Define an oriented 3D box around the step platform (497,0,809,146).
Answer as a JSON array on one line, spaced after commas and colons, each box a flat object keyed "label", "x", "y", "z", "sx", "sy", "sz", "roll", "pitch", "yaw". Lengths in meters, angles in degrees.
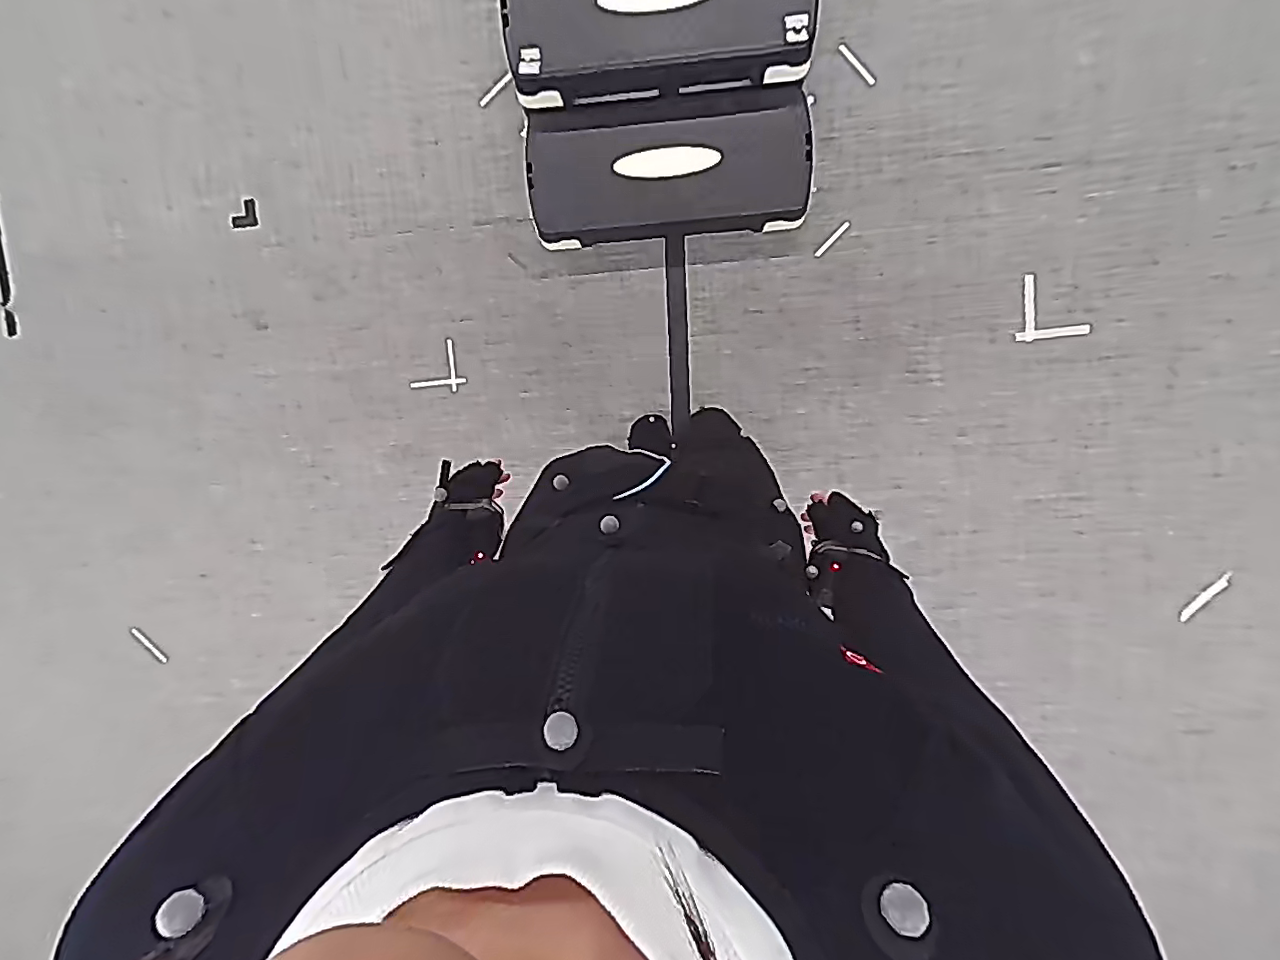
[{"label": "step platform", "x": 0.027, "y": -0.987, "z": 1.225, "sx": 0.684, "sy": 0.204, "sz": 0.286, "roll": -4, "pitch": 97, "yaw": 4}]
